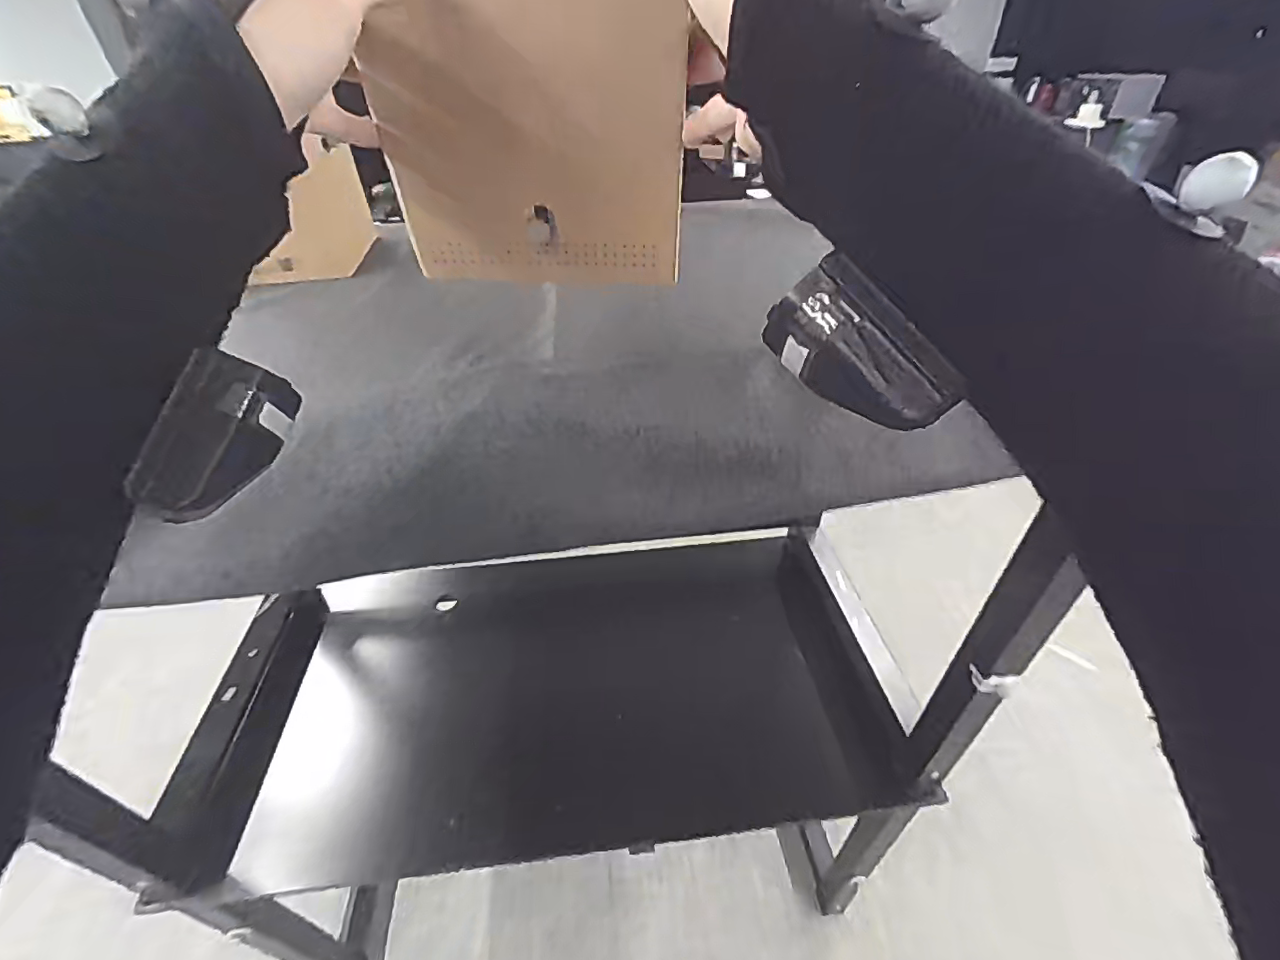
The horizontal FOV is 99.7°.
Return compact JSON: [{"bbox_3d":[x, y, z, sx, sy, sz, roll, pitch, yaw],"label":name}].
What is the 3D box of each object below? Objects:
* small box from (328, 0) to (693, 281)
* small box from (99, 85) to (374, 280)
[{"bbox_3d":[-0.060,-0.247,0.353,0.179,0.176,0.168,2,49,1],"label":"small box"},{"bbox_3d":[-0.423,-0.333,0.611,0.168,0.176,0.179,-8,39,-8],"label":"small box"}]
